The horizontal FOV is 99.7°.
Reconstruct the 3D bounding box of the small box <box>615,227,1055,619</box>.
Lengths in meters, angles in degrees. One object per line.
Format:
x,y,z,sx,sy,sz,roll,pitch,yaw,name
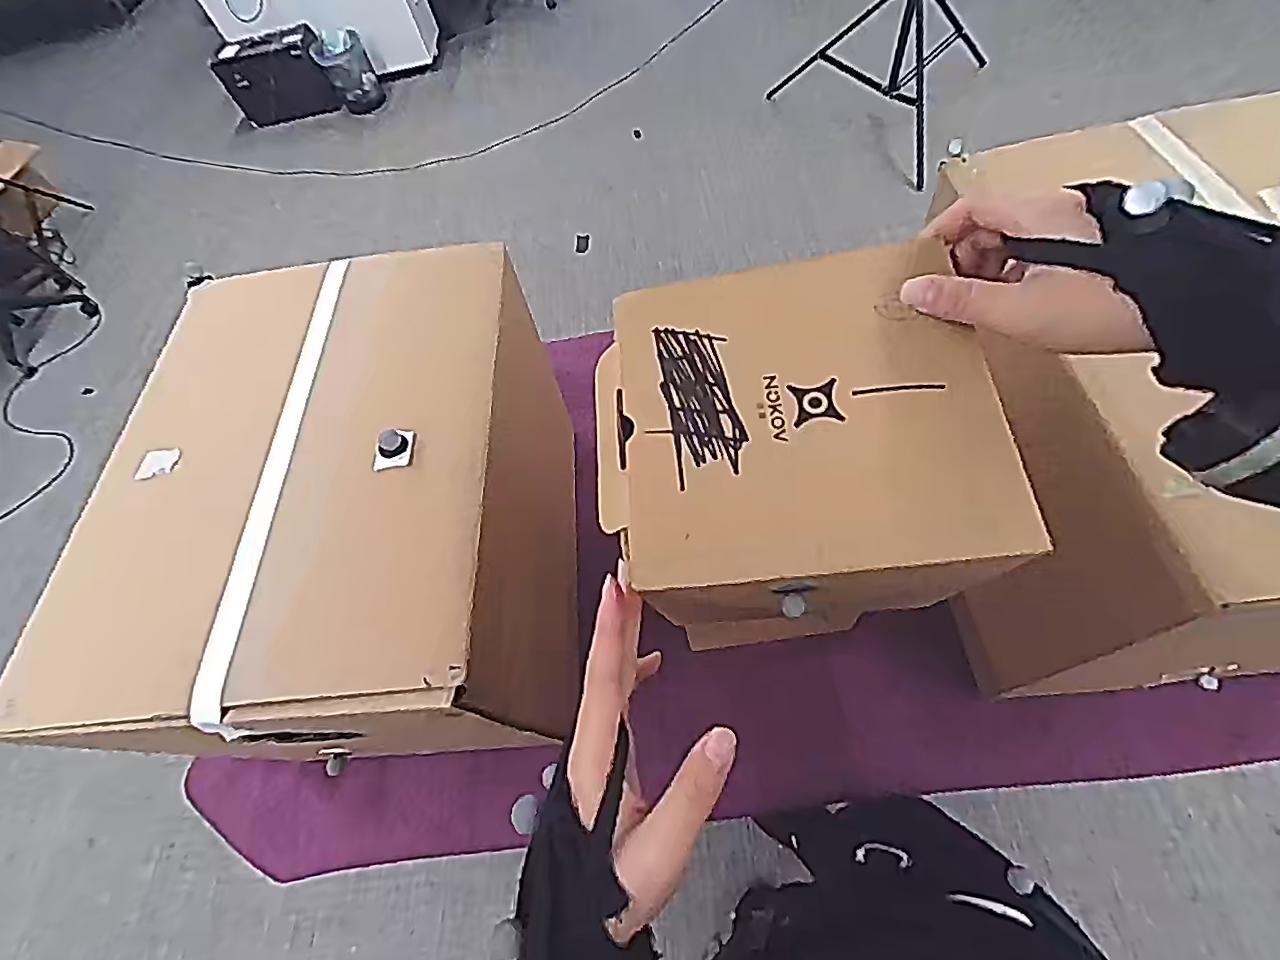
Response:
0.090,-0.013,0.327,0.179,0.176,0.168,-7,68,8,small box

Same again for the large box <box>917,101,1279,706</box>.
0.446,-0.048,0.481,0.320,0.320,0.408,-8,58,5,large box
